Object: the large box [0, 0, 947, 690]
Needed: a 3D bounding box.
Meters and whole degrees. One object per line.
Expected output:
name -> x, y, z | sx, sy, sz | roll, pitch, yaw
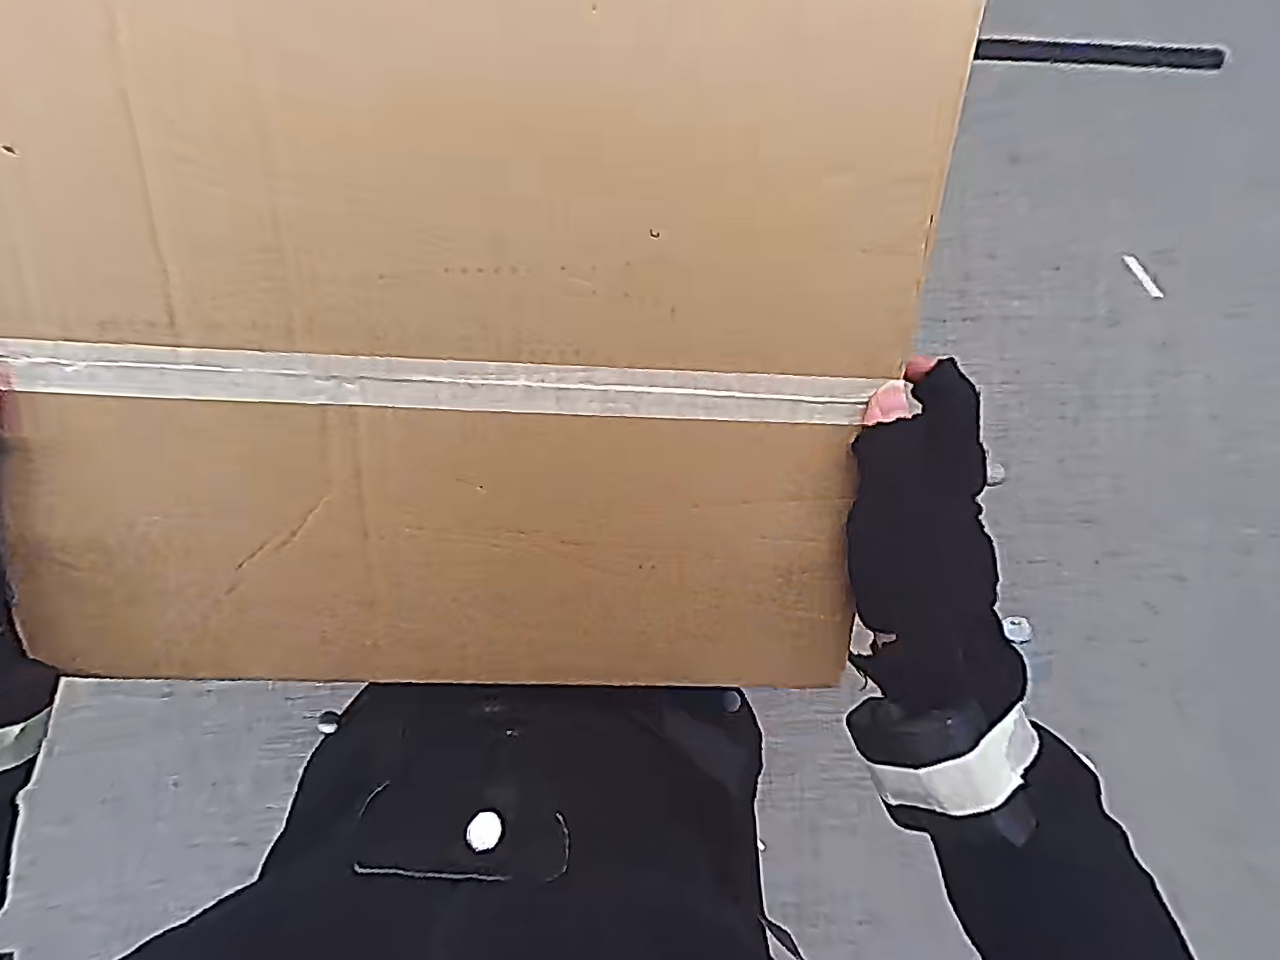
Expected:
large box -> -0.092, -0.081, 0.382 | 0.408, 0.320, 0.320 | 2, 109, -4
